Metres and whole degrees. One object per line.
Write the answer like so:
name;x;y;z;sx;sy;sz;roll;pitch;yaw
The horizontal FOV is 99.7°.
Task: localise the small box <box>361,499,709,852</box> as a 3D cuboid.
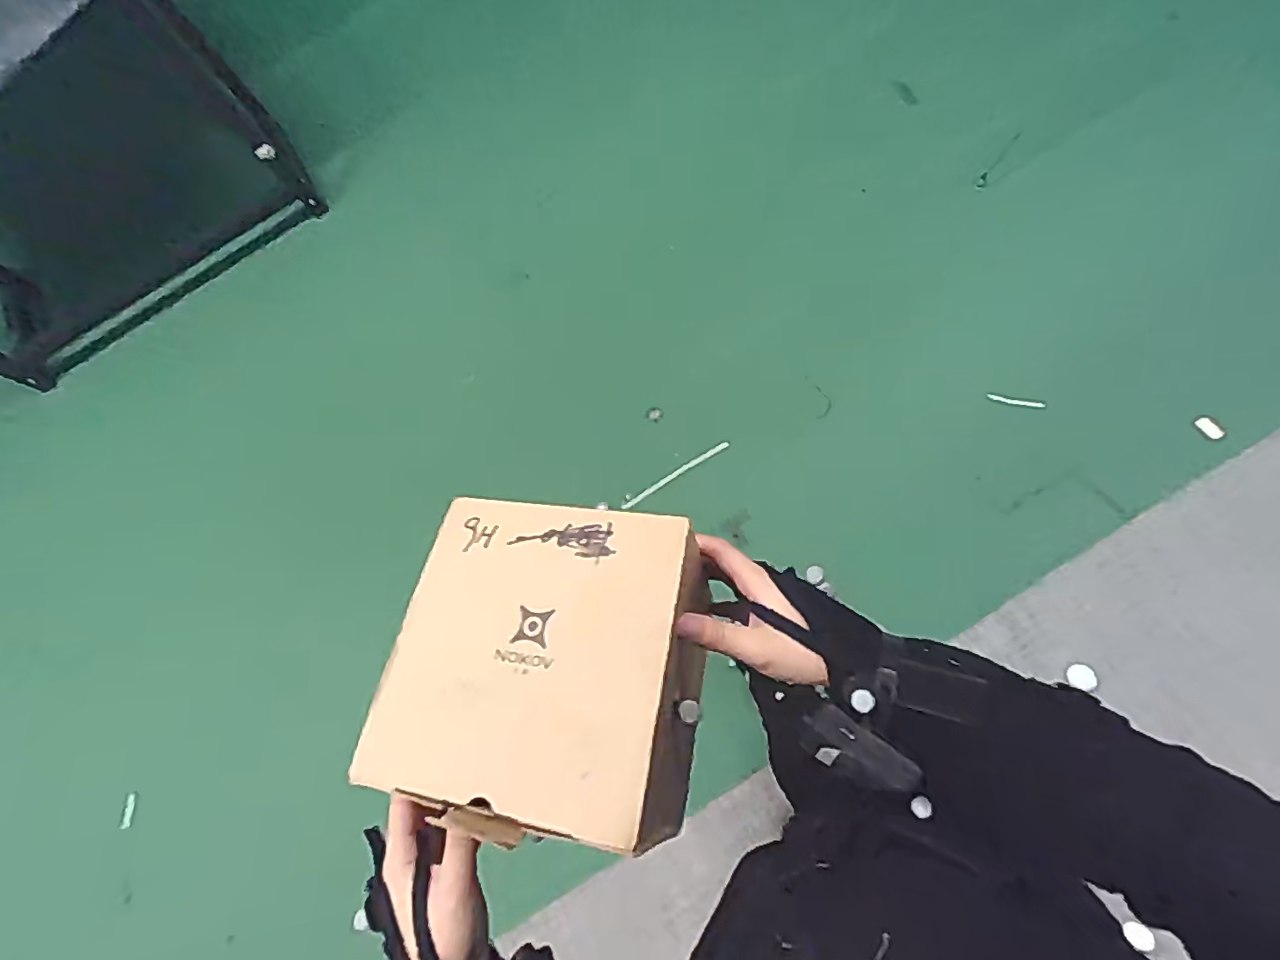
small box;-0.047;0.132;0.385;0.168;0.176;0.179;5;63;15
